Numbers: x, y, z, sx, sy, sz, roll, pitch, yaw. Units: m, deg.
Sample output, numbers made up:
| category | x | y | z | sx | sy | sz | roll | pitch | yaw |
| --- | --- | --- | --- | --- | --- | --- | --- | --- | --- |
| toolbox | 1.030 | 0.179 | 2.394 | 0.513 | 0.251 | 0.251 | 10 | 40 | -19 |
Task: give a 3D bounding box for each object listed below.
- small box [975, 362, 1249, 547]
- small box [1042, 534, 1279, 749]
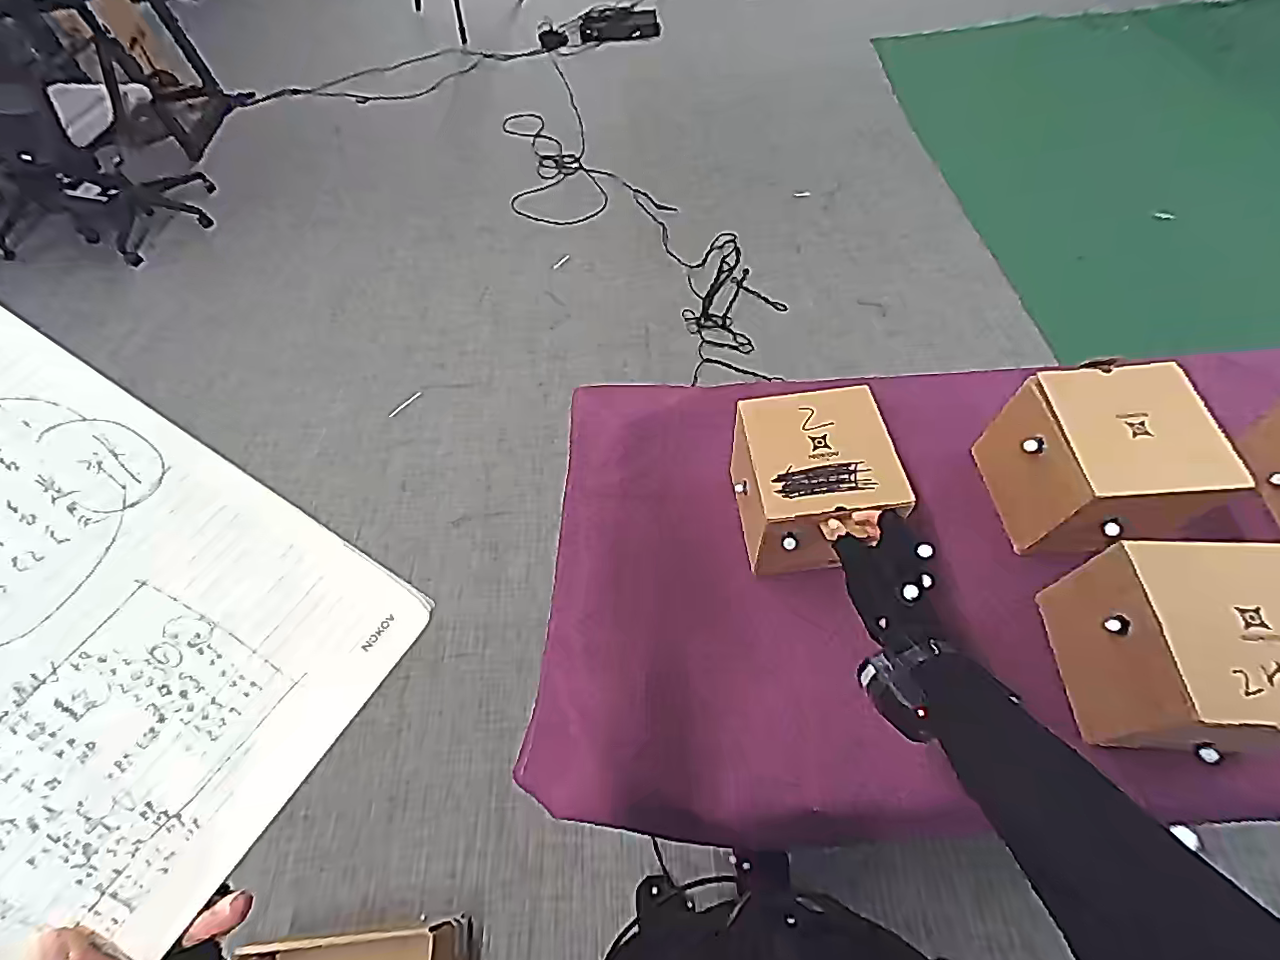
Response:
| category | x | y | z | sx | sy | sz | roll | pitch | yaw |
| --- | --- | --- | --- | --- | --- | --- | --- | --- | --- |
| small box | 0.569 | -0.022 | 0.686 | 0.168 | 0.176 | 0.179 | -4 | 58 | 3 |
| small box | 0.569 | 0.172 | 0.565 | 0.168 | 0.176 | 0.179 | 0 | 59 | 6 |
